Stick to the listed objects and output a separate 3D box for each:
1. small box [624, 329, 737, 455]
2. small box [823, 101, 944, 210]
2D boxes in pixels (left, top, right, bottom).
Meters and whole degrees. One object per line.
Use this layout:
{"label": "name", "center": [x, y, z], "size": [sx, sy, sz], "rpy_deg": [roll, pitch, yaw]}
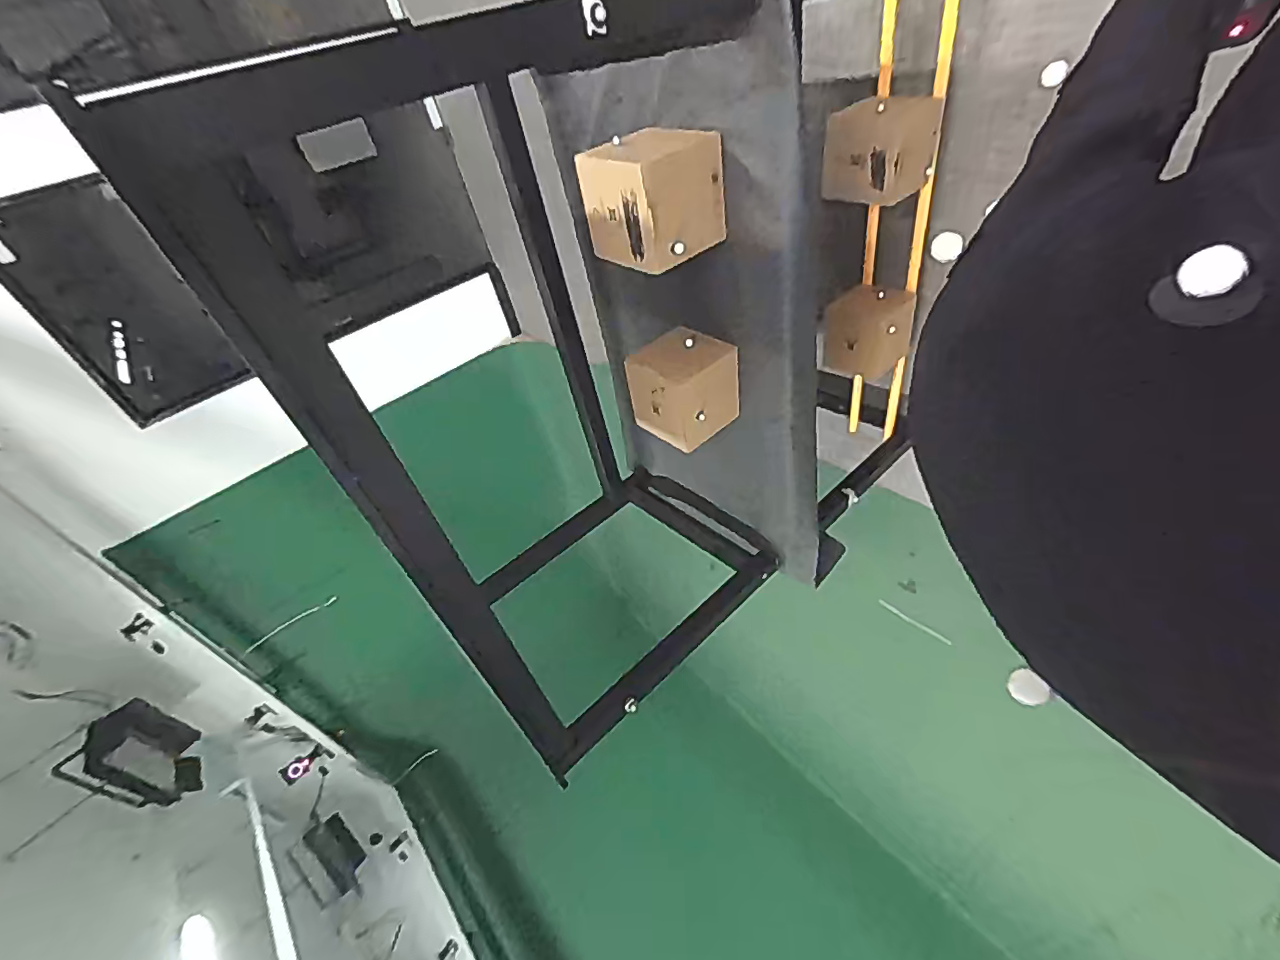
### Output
{"label": "small box", "center": [0.093, -0.190, 1.148], "size": [0.168, 0.176, 0.179], "rpy_deg": [33, 149, 38]}
{"label": "small box", "center": [0.532, -0.717, 1.190], "size": [0.179, 0.176, 0.168], "rpy_deg": [34, 148, 37]}
